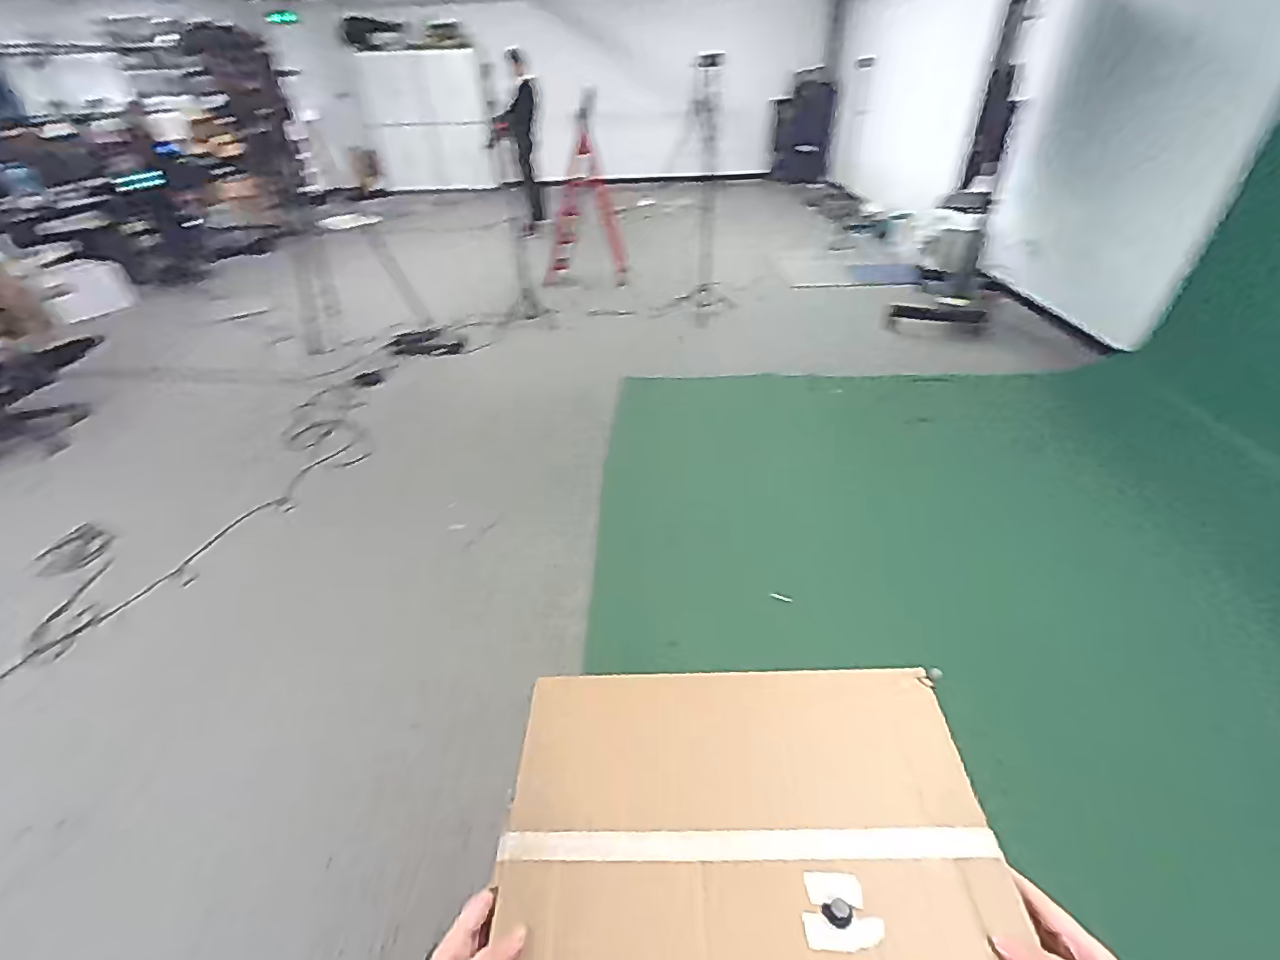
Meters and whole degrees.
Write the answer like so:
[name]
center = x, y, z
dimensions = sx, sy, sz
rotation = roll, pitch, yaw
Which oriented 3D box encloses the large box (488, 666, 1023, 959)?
[large box]
center = 0.087, 0.420, 0.555
dimensions = 0.408, 0.320, 0.320
rotation = -3, 41, 2
